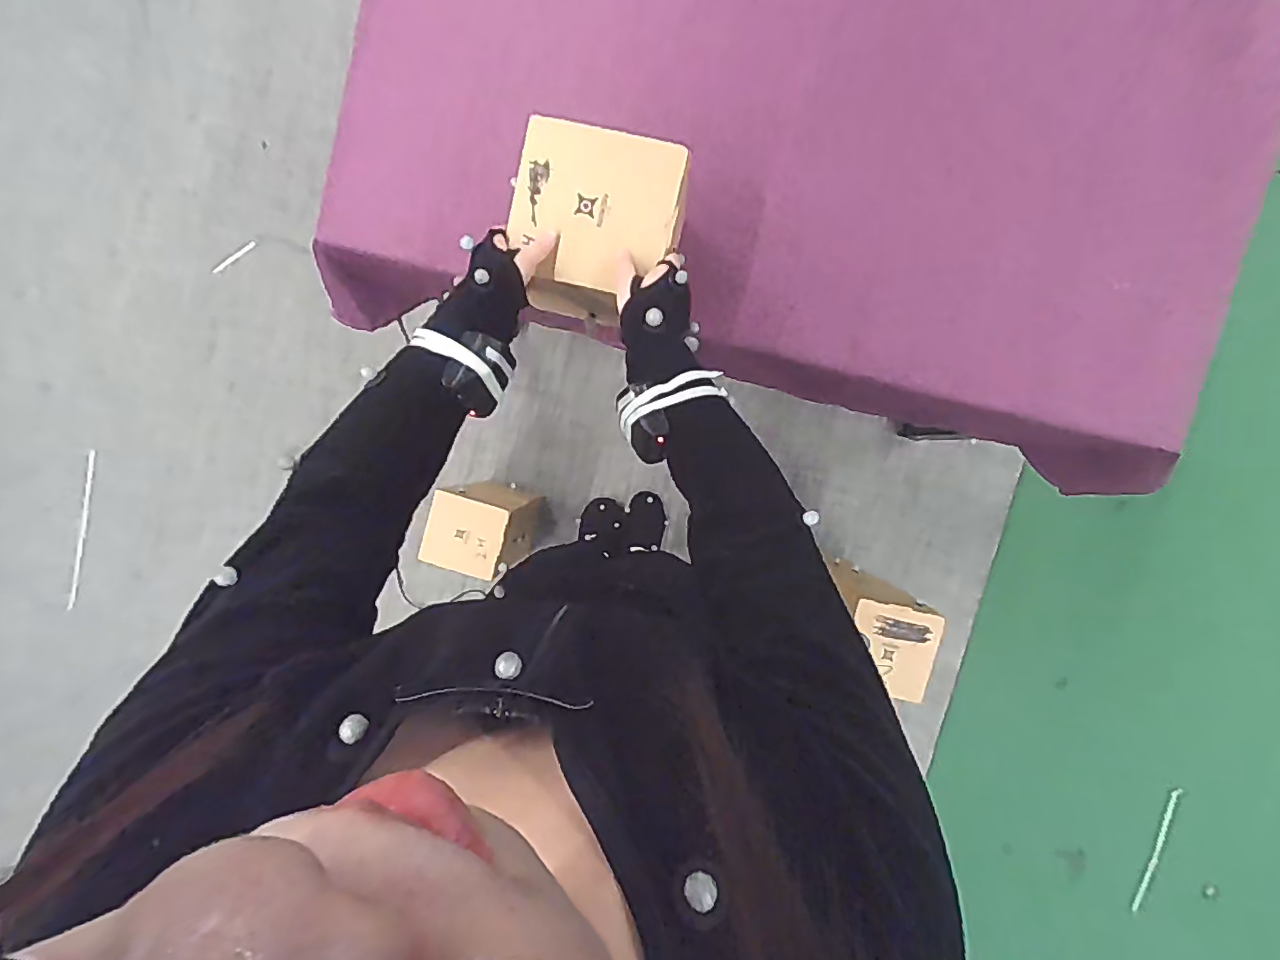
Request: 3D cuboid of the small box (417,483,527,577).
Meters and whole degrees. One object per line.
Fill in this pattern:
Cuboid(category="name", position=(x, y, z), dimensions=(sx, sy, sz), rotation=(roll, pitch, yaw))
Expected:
Cuboid(category="small box", position=(-0.385, 0.109, 1.268), dimensions=(0.179, 0.176, 0.168), rotation=(17, 95, 0))

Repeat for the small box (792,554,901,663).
Cuboid(category="small box", position=(0.467, 0.290, 1.253), dimensions=(0.168, 0.176, 0.179), rotation=(15, 95, 0))

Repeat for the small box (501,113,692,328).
Cuboid(category="small box", position=(-0.046, -0.294, 0.655), dimensions=(0.179, 0.176, 0.168), rotation=(13, 94, 0))
